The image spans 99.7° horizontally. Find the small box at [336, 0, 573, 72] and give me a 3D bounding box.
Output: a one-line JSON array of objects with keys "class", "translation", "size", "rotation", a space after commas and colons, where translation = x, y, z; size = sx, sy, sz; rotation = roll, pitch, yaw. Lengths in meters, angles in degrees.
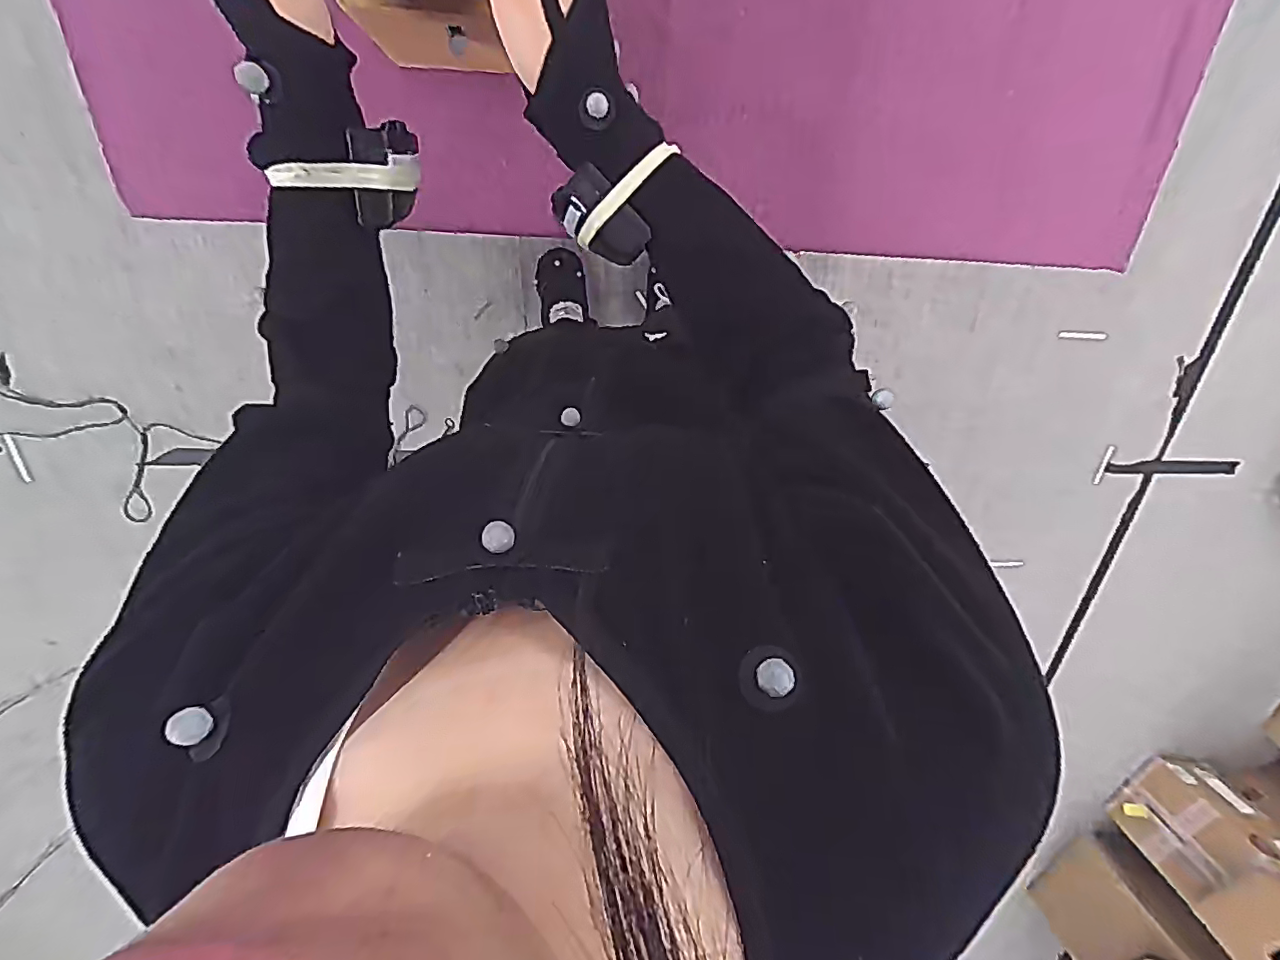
[{"class": "small box", "translation": [-0.147, -0.462, 0.451], "size": [0.179, 0.176, 0.168], "rotation": [-1, 115, -7]}]
